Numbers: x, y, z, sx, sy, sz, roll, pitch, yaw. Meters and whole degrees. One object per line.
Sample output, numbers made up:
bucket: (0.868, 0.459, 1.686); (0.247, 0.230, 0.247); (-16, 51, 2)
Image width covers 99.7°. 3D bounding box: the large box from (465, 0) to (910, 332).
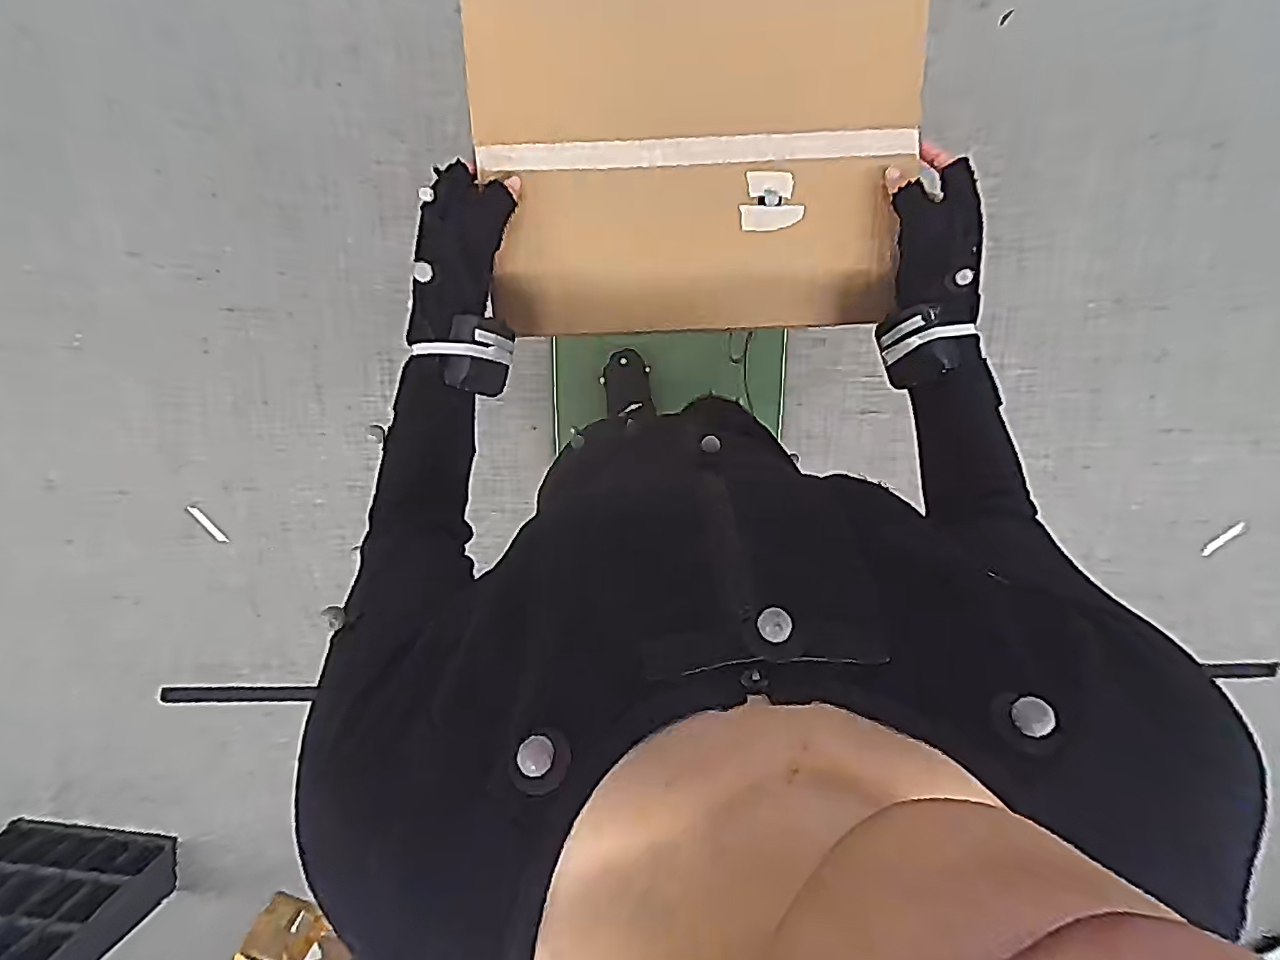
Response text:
large box: (0.045, -0.353, 0.652); (0.408, 0.320, 0.320); (-3, 105, -1)
